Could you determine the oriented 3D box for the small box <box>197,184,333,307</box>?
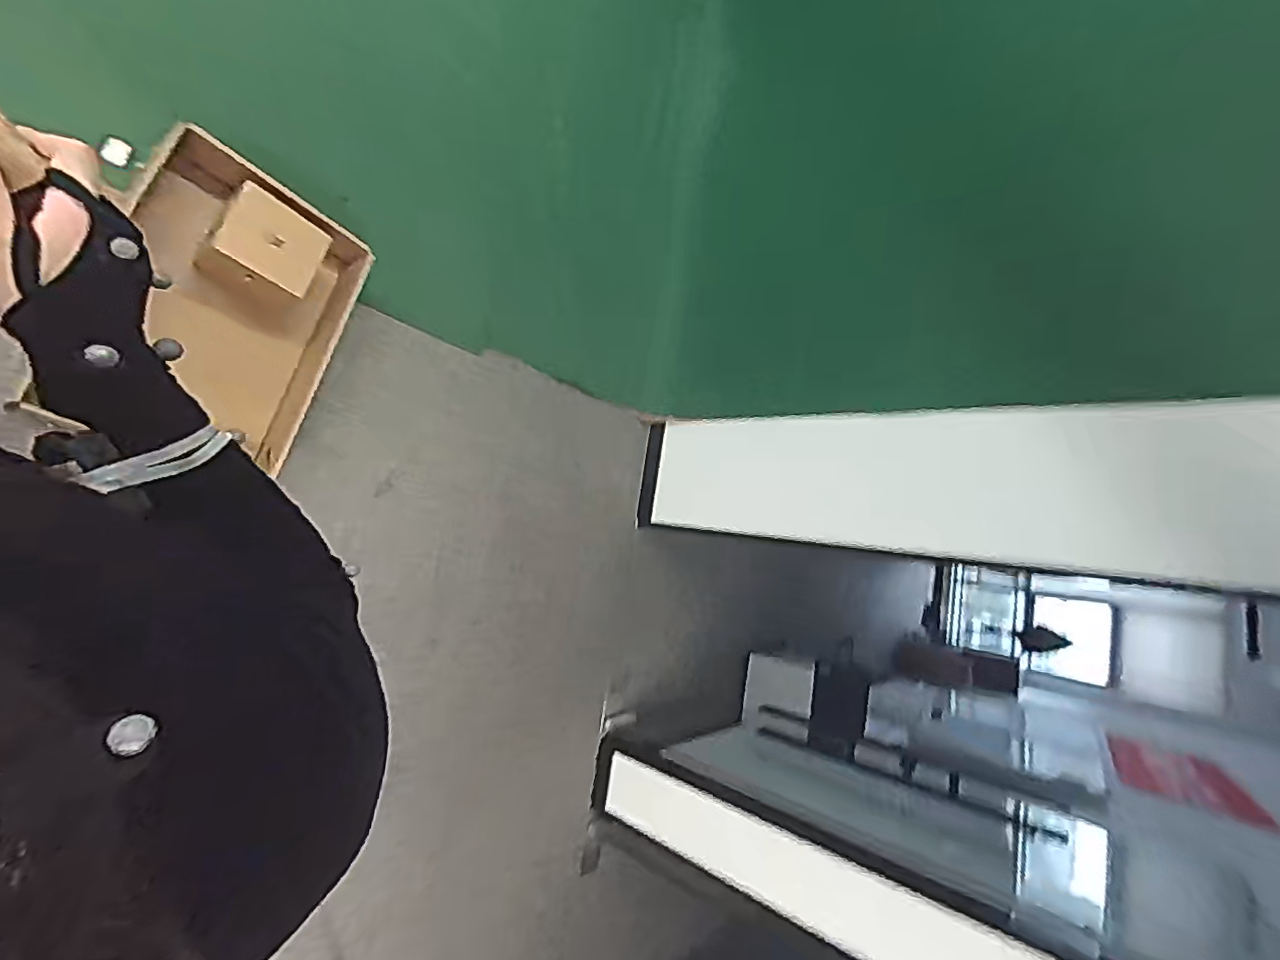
[{"bbox_3d":[-0.827,-0.502,1.189,0.179,0.176,0.168,34,69,-47],"label":"small box"}]
